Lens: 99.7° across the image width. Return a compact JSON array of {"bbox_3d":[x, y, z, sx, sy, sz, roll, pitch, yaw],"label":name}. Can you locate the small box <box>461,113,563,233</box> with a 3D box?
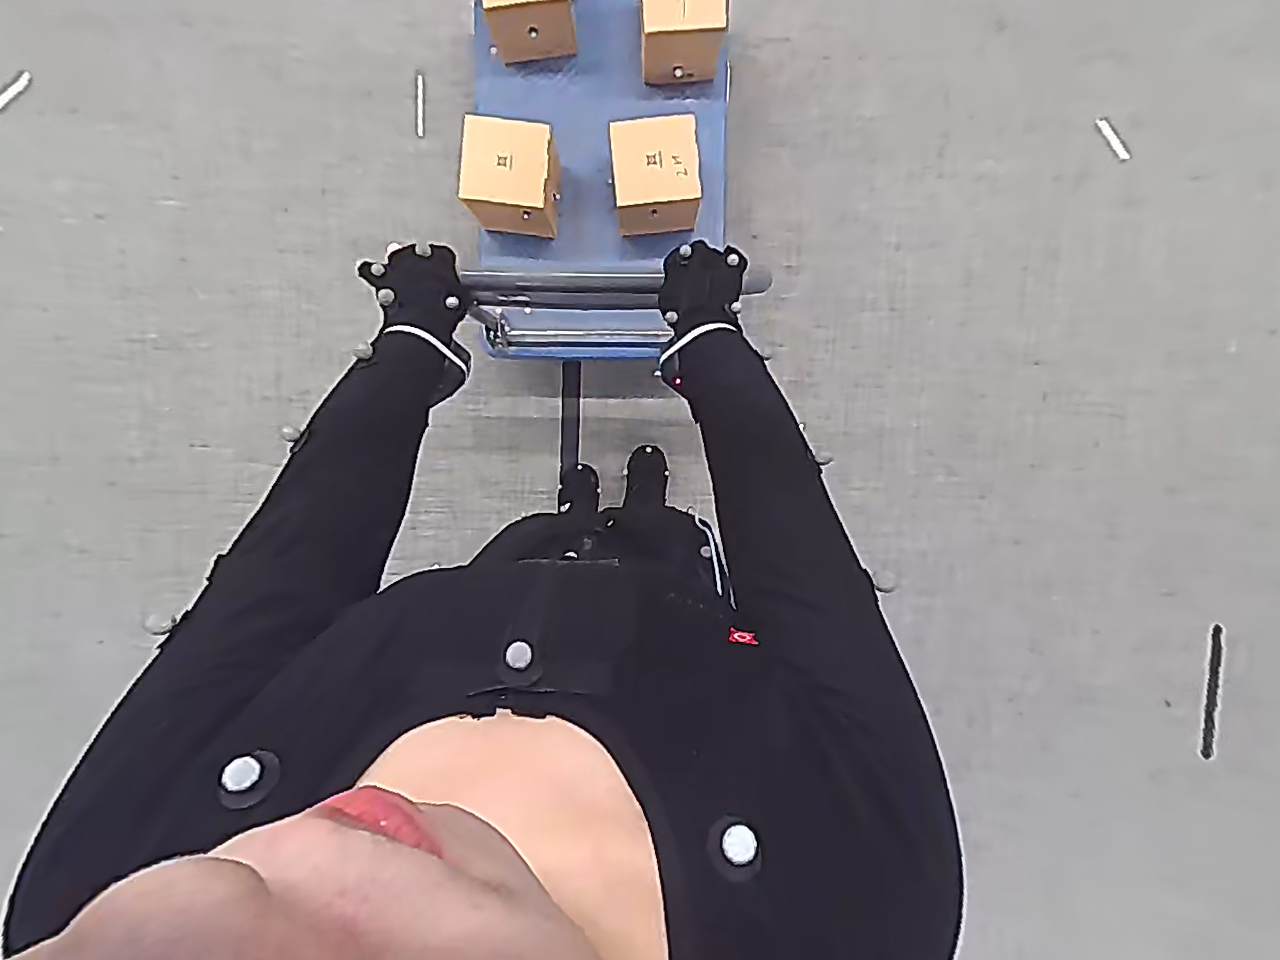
[{"bbox_3d":[-0.271,-0.658,1.178,0.179,0.176,0.168,6,95,-2],"label":"small box"}]

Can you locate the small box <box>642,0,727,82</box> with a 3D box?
[{"bbox_3d":[0.089,-0.990,1.145,0.168,0.176,0.179,-3,96,1],"label":"small box"}]

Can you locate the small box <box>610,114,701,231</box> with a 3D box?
[{"bbox_3d":[0.034,-0.657,1.176,0.179,0.176,0.168,-5,95,1],"label":"small box"}]
